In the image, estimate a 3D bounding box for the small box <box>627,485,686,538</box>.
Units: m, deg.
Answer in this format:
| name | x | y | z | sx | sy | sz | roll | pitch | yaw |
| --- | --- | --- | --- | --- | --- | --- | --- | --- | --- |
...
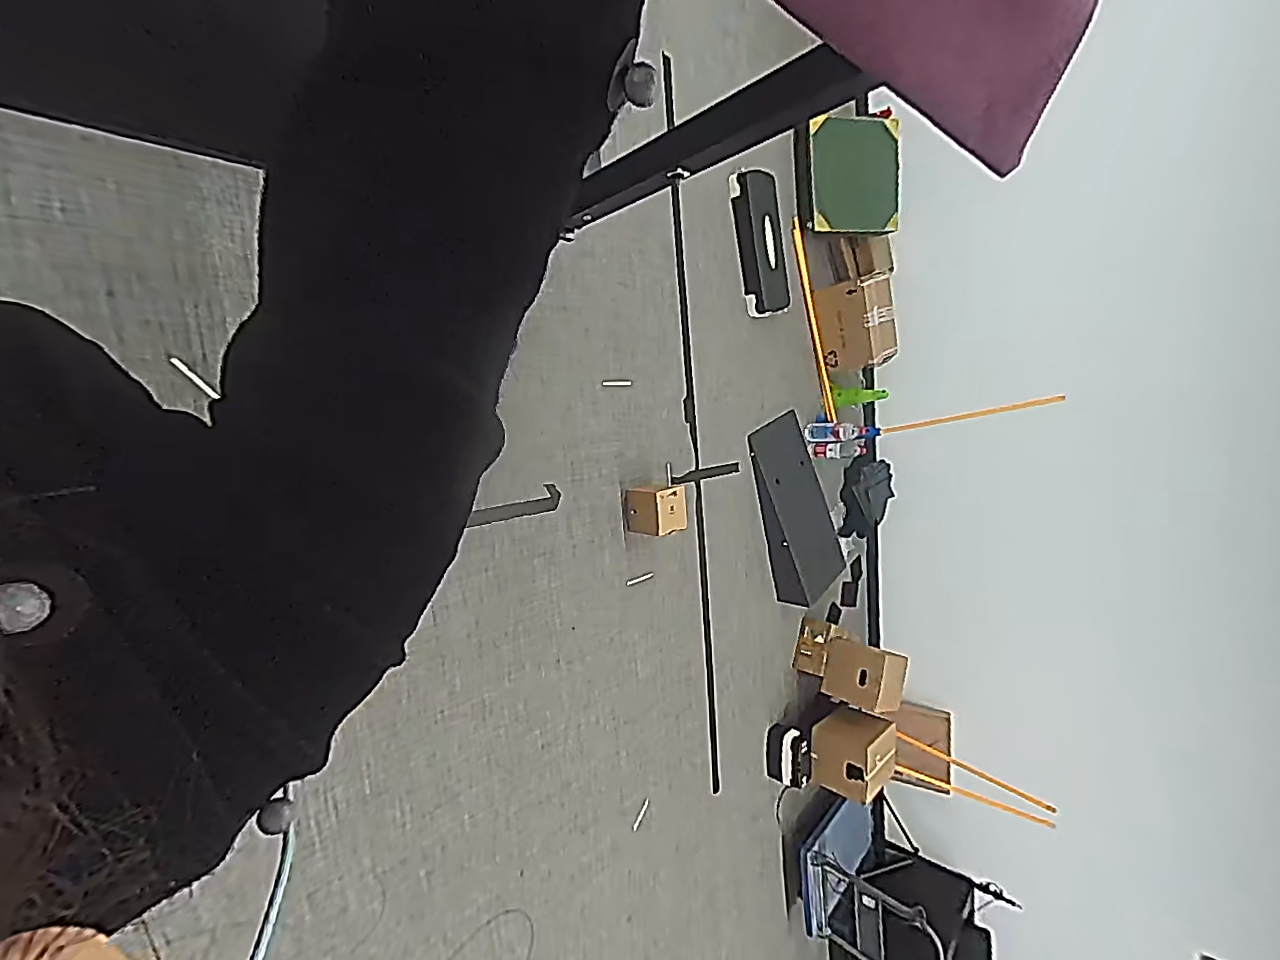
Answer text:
| name | x | y | z | sx | sy | sz | roll | pitch | yaw |
| --- | --- | --- | --- | --- | --- | --- | --- | --- | --- |
| small box | 0.064 | 0.121 | 2.148 | 0.168 | 0.176 | 0.179 | -12 | 101 | -45 |
